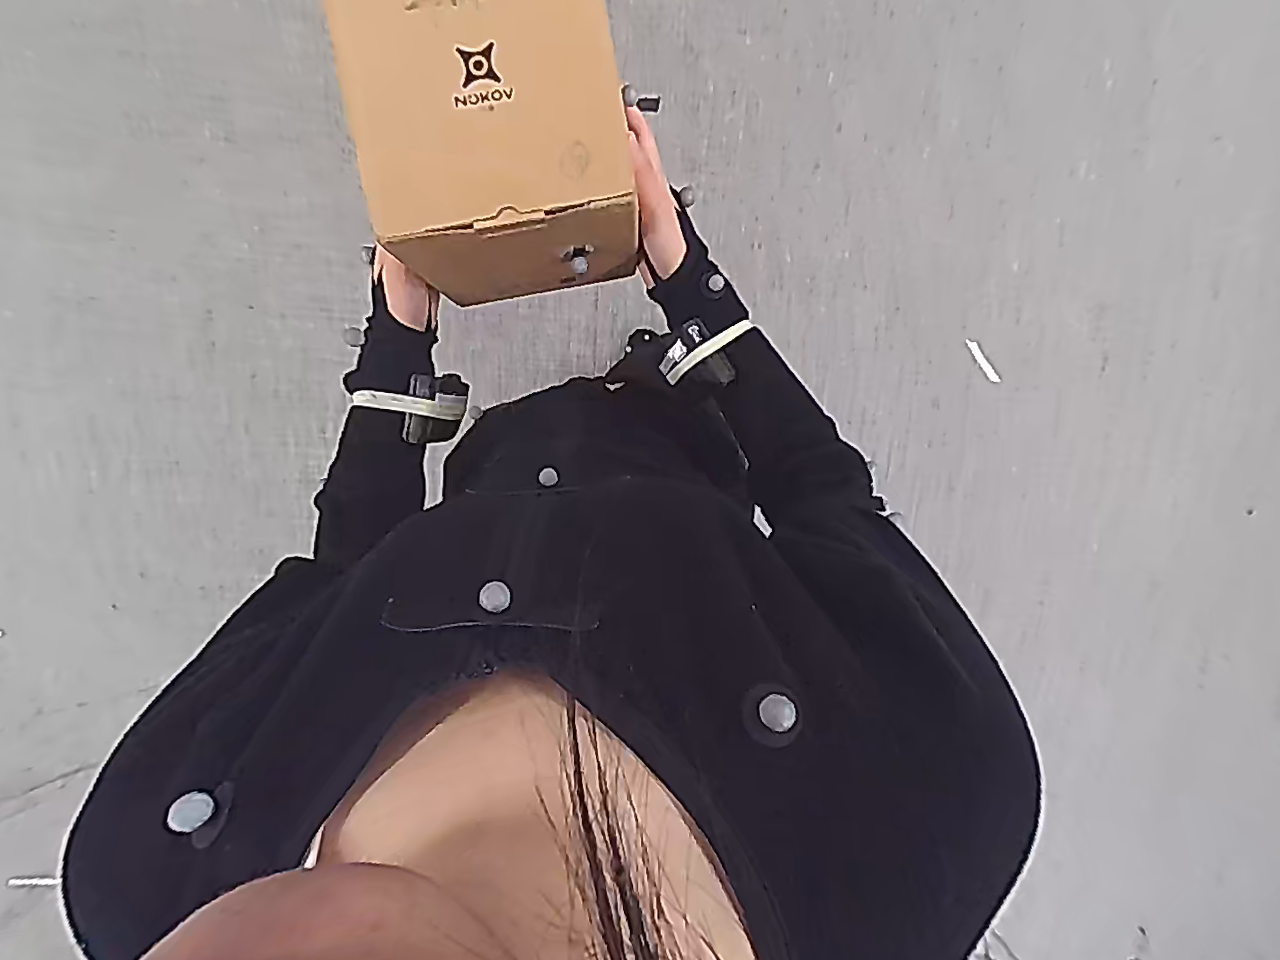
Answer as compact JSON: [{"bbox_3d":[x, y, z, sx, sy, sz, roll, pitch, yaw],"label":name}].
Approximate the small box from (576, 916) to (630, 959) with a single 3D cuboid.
[{"bbox_3d":[-0.120,1.545,1.726,0.168,0.176,0.179,5,103,-6],"label":"small box"}]
